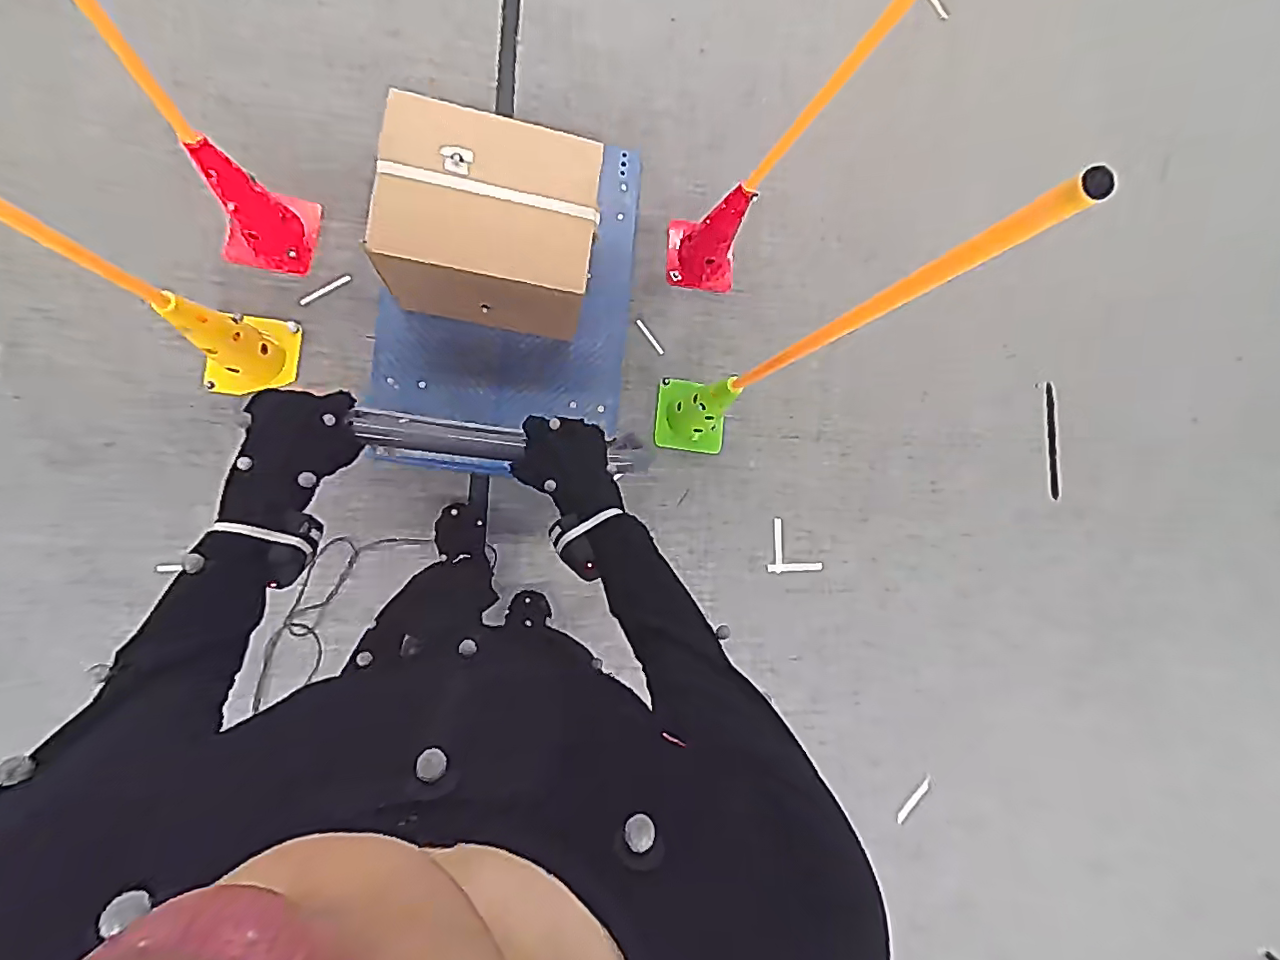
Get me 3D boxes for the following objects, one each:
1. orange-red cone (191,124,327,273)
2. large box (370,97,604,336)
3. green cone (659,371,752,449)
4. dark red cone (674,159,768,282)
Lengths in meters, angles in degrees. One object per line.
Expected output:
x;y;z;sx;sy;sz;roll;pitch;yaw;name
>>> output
-0.885;-0.656;1.213;0.198;0.360;0.199;10;83;-11;orange-red cone
-0.305;-0.531;1.170;0.408;0.320;0.320;8;86;-10;large box
0.192;-0.210;1.389;0.202;0.368;0.200;7;85;-12;green cone
0.231;-0.693;1.413;0.201;0.394;0.202;3;86;-13;dark red cone
